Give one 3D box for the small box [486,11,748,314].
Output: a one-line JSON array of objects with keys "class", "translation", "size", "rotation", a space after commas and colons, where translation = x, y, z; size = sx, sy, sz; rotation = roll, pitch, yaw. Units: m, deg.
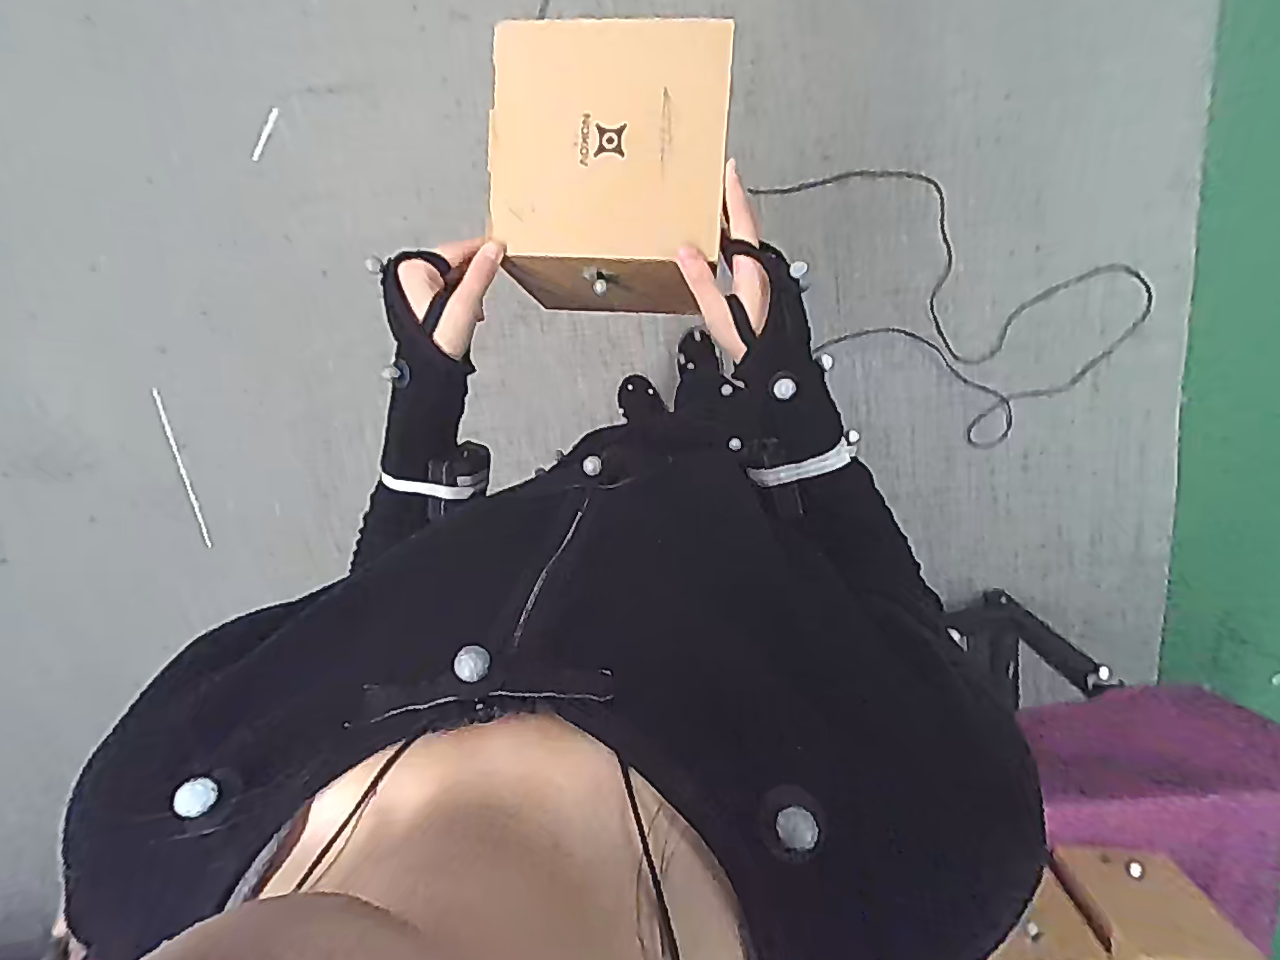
[{"class": "small box", "translation": [-0.012, -0.248, 0.462], "size": [0.179, 0.176, 0.168], "rotation": [5, 93, 5]}]
